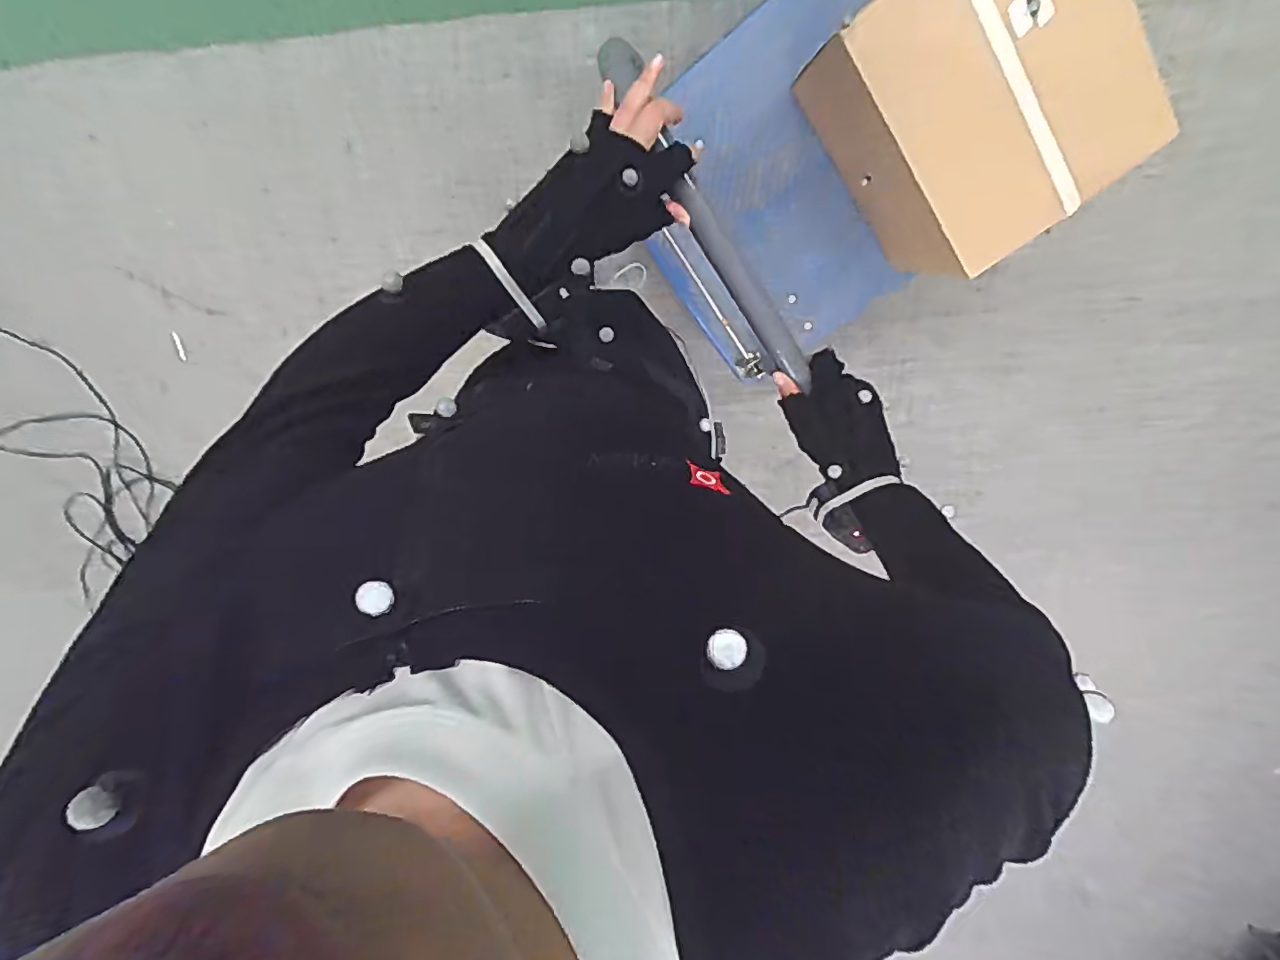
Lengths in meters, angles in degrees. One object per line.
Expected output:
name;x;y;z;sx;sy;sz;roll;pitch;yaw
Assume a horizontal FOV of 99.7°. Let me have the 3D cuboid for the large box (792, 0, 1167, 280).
large box;0.507;-0.594;0.881;0.320;0.320;0.408;-35;107;16
